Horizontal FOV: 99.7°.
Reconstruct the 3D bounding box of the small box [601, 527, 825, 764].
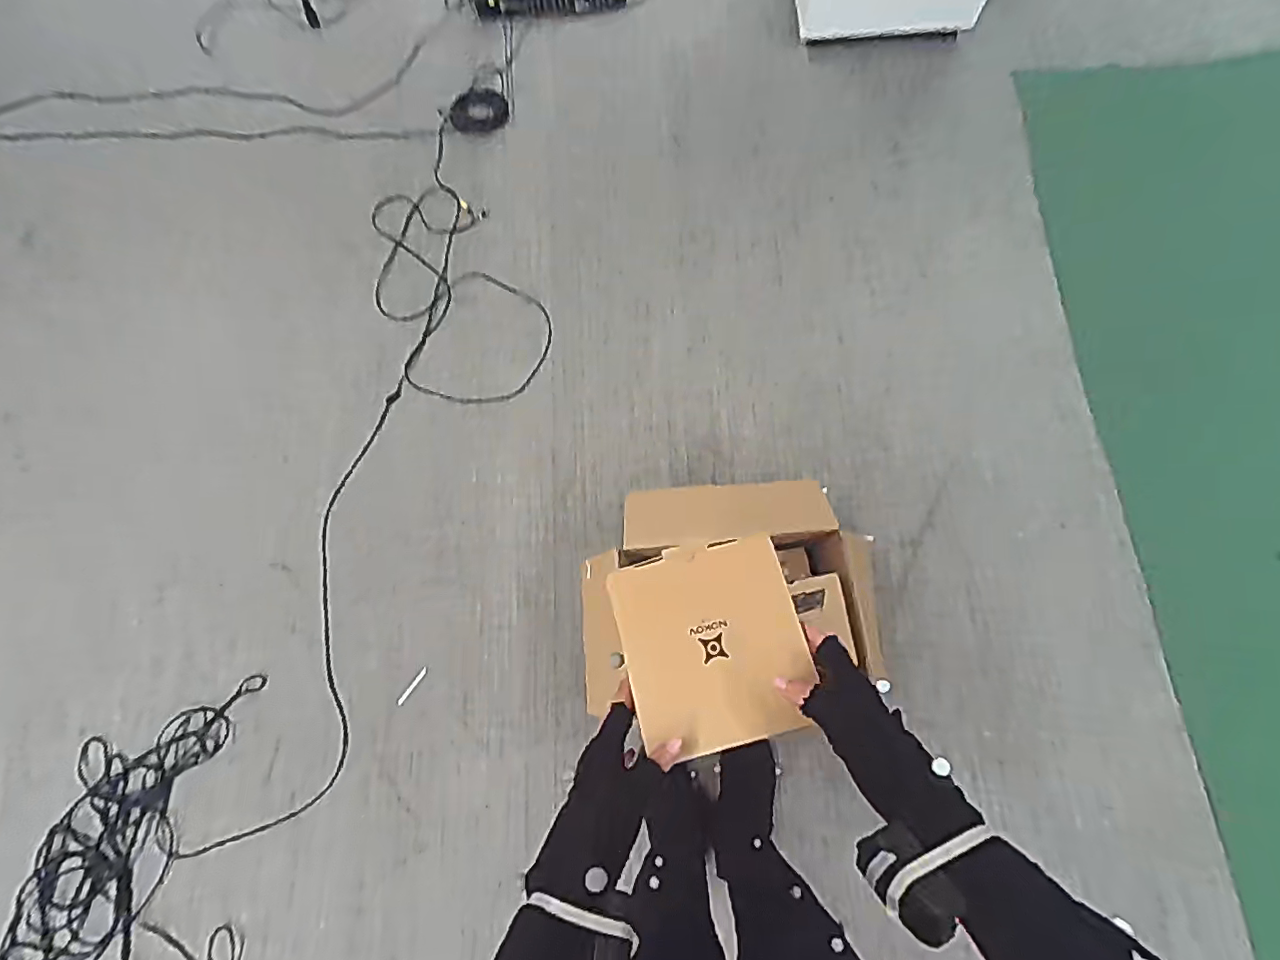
[{"bbox_3d":[0.066,0.167,0.559,0.168,0.176,0.179,-14,70,-2],"label":"small box"}]
